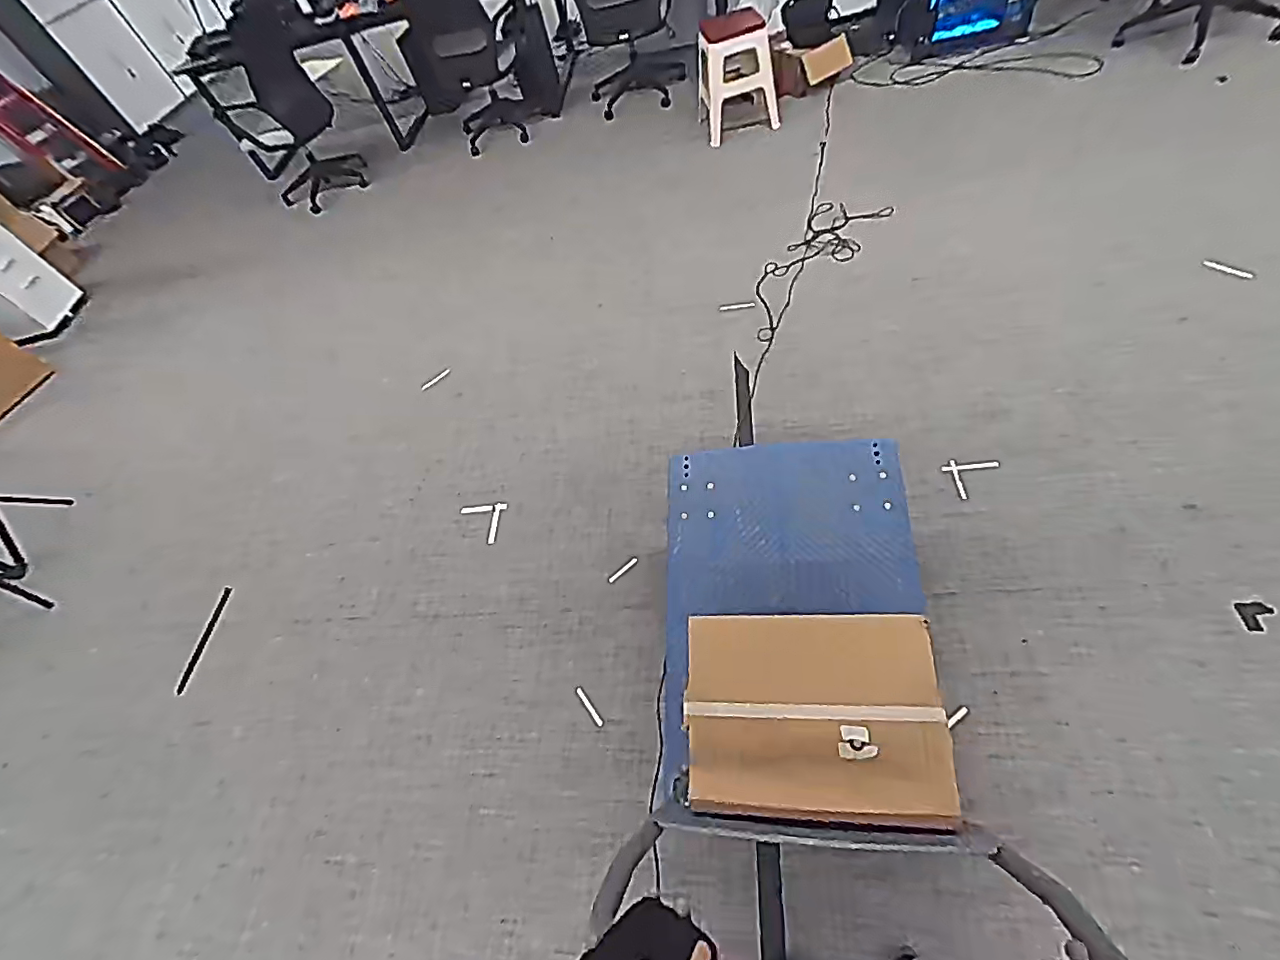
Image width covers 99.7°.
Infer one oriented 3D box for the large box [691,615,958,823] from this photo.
[{"bbox_3d":[0.316,0.447,1.038,0.408,0.320,0.320,-4,66,12],"label":"large box"}]
